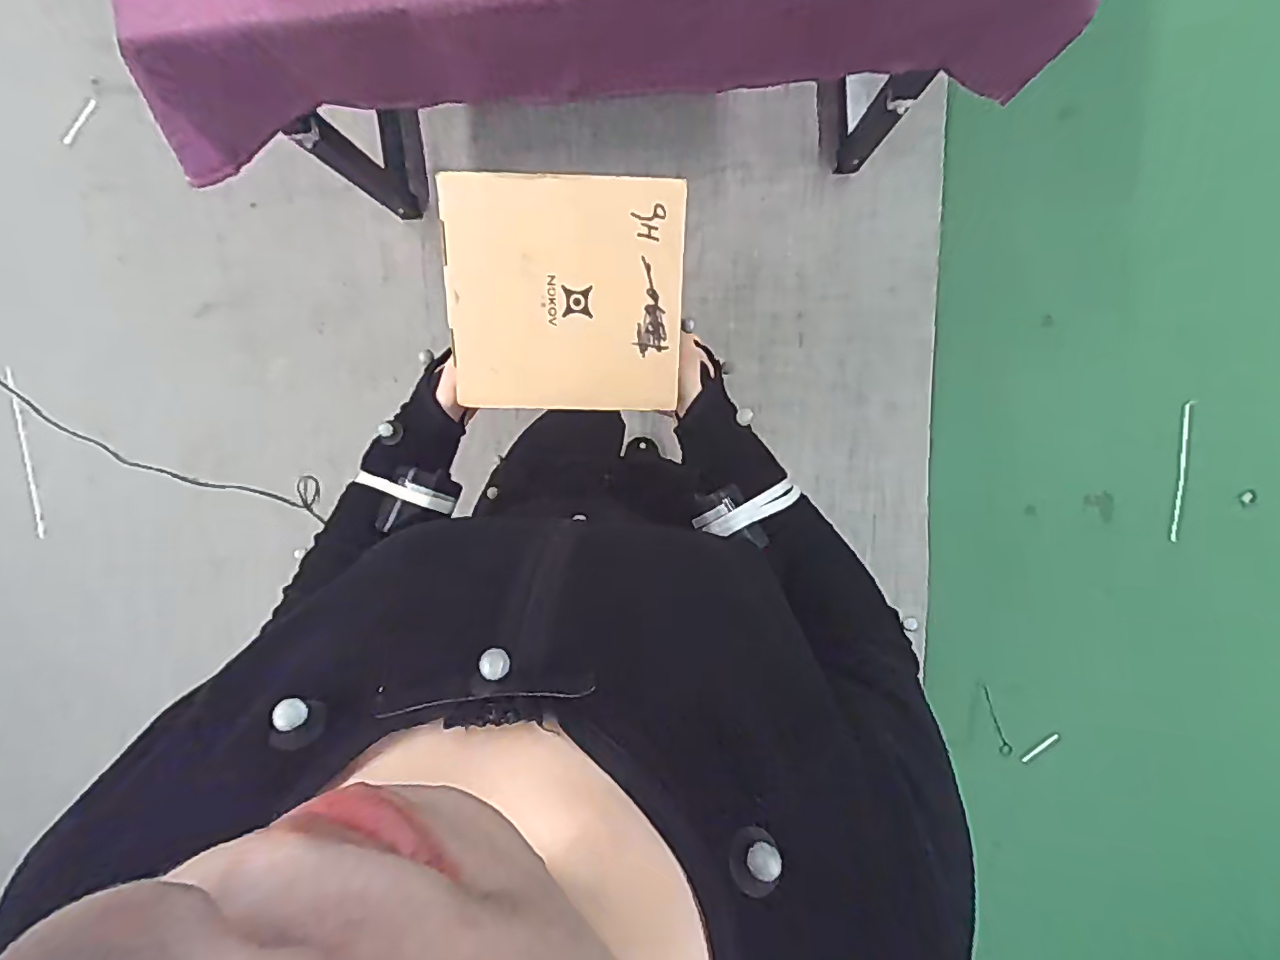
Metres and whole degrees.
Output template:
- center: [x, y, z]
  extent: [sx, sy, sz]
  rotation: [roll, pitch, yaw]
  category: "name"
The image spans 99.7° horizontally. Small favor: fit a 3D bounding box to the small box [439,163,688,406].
- center: [-0.056, -0.166, 0.476]
  extent: [0.179, 0.176, 0.168]
  rotation: [2, 111, -1]
  category: "small box"
